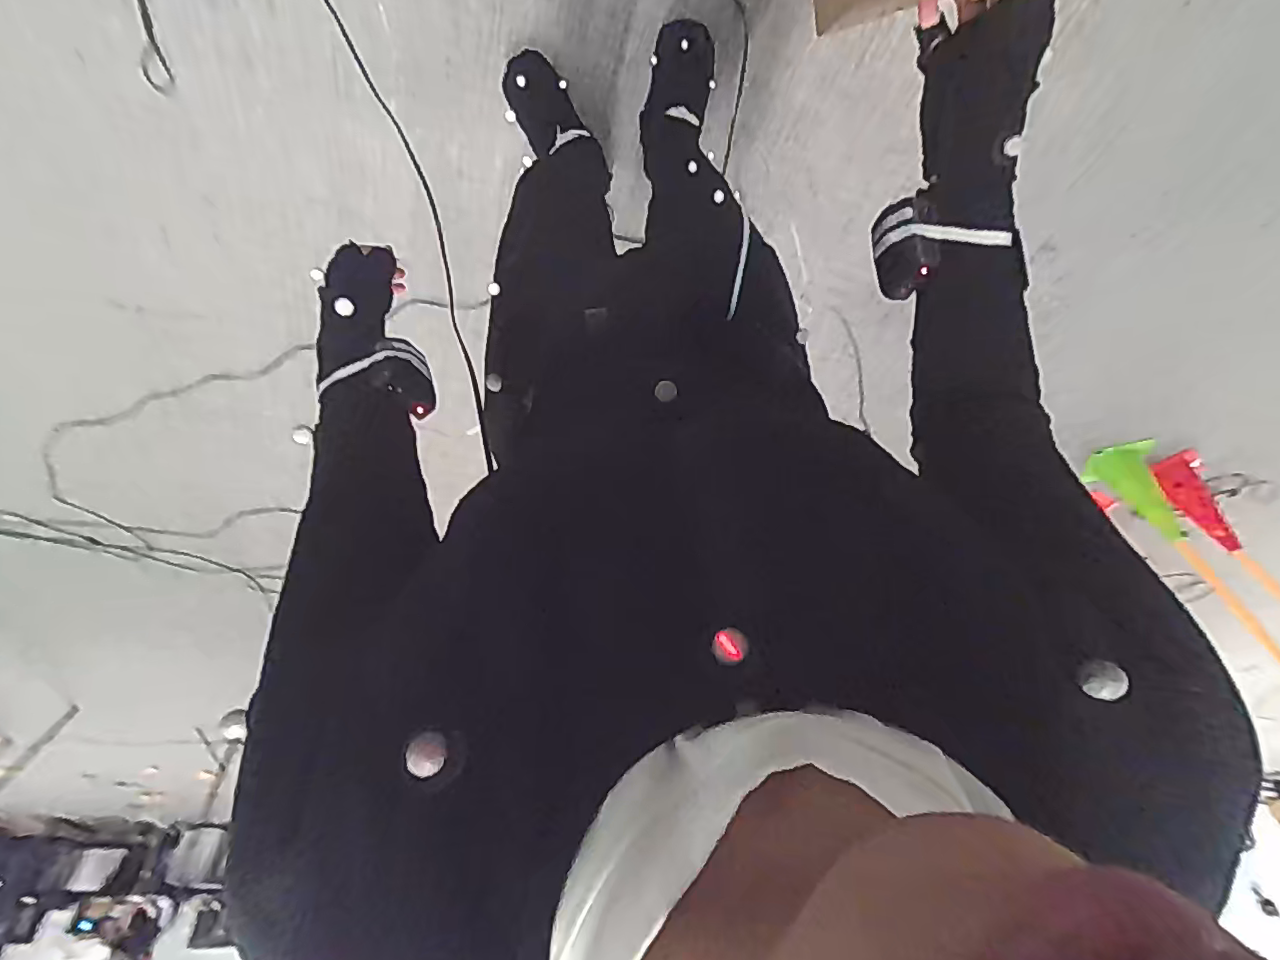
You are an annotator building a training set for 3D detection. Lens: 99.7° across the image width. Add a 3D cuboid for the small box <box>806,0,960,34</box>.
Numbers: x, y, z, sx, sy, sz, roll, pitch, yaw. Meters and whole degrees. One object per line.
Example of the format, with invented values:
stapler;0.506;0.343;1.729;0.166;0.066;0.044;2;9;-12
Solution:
small box;0.214;-0.453;0.384;0.168;0.176;0.179;-13;118;7
